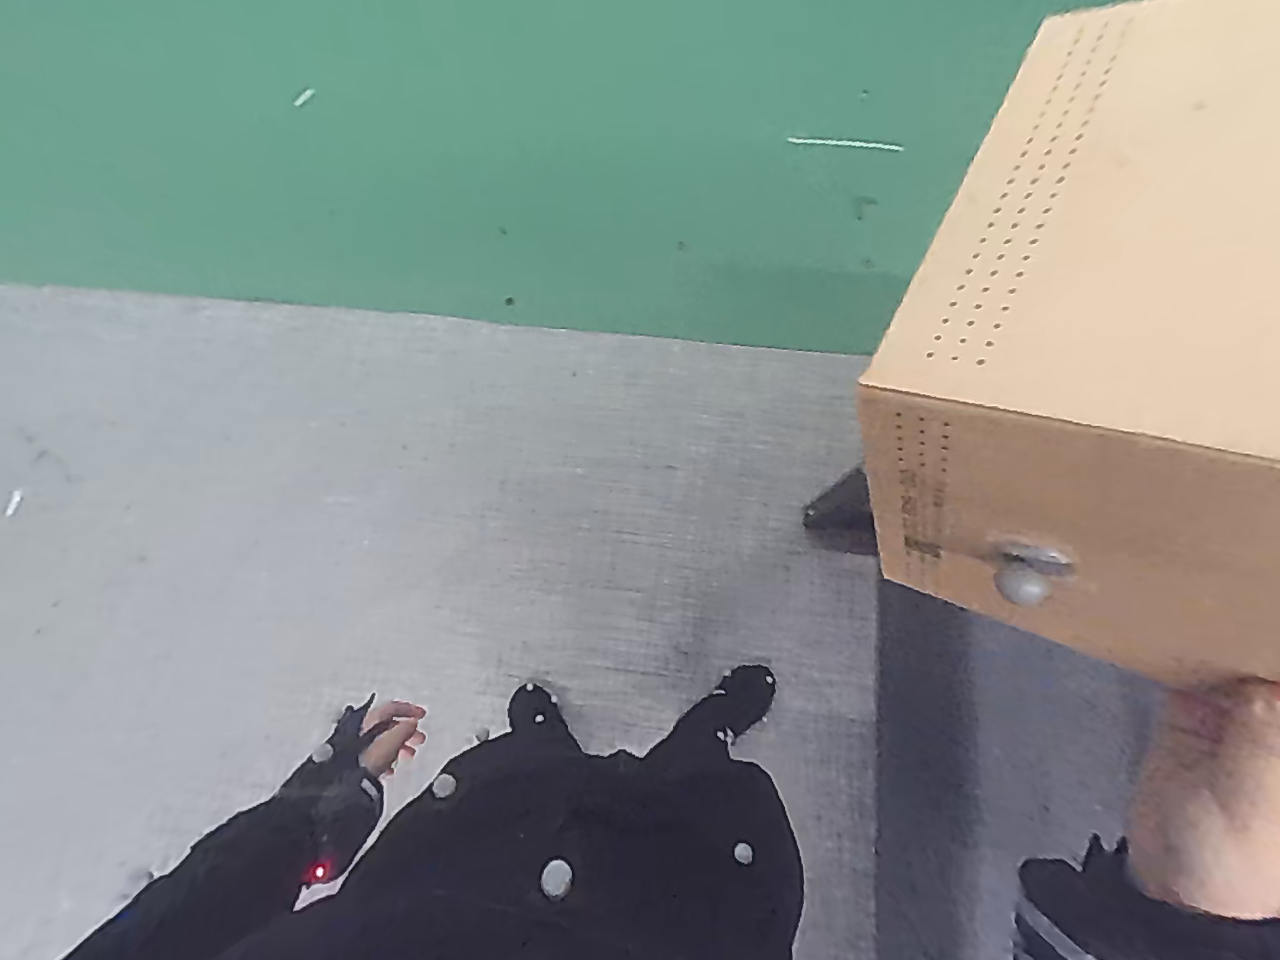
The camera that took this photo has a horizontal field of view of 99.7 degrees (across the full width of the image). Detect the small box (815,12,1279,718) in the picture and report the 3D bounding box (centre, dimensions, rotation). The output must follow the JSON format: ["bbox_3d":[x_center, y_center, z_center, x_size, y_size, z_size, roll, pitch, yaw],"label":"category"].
[{"bbox_3d":[0.187,-0.042,0.207,0.176,0.168,0.179,19,71,36],"label":"small box"}]
